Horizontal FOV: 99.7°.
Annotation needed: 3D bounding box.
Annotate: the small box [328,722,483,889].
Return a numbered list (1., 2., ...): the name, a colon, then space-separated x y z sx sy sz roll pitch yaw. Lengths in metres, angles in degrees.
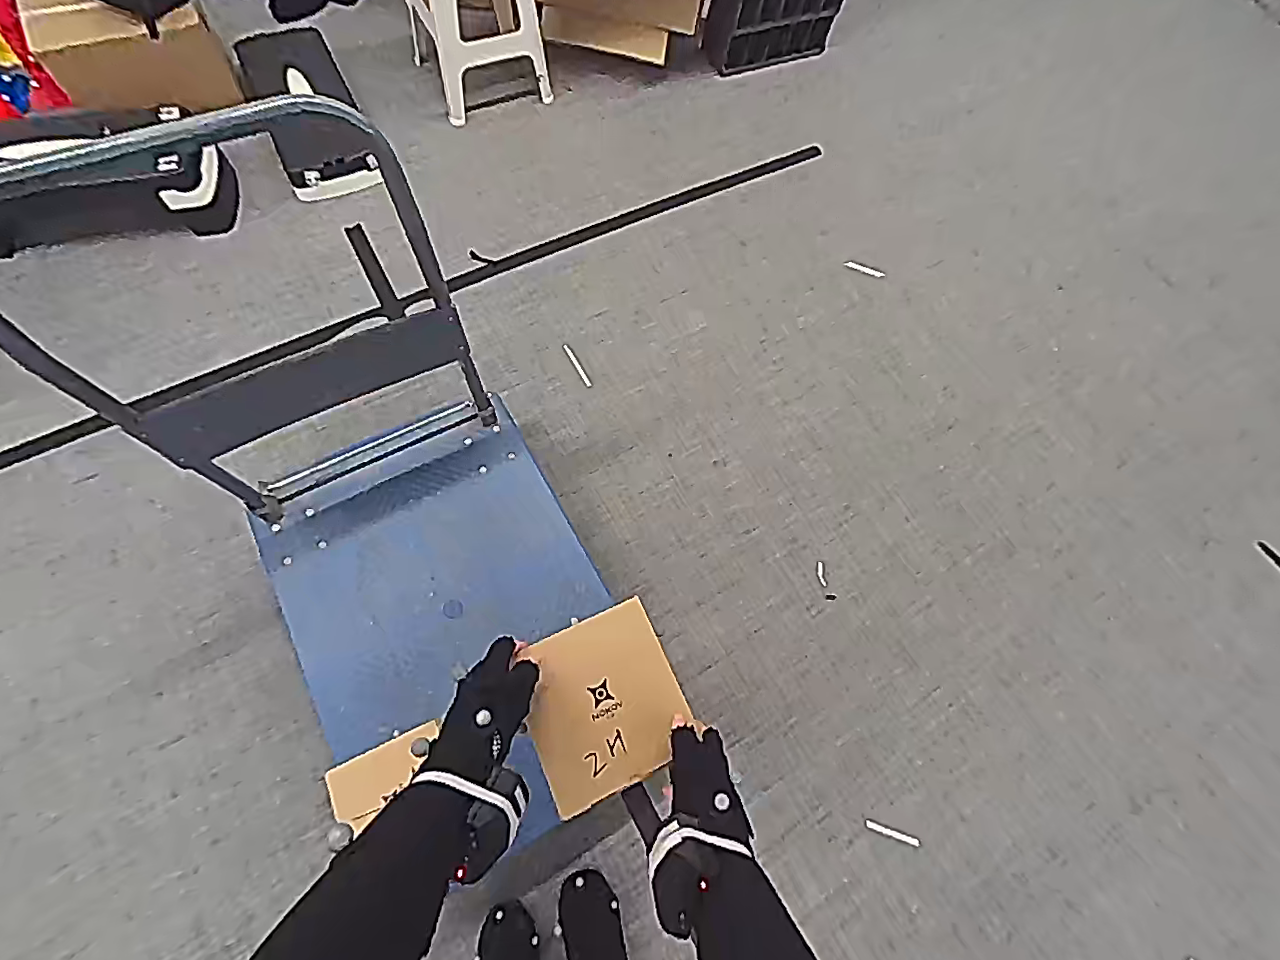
1. small box: -0.370 0.515 0.888 0.179 0.176 0.168 -23 71 -13

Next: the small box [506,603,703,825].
1. small box: -0.048 0.270 0.656 0.168 0.176 0.179 -23 75 -11
